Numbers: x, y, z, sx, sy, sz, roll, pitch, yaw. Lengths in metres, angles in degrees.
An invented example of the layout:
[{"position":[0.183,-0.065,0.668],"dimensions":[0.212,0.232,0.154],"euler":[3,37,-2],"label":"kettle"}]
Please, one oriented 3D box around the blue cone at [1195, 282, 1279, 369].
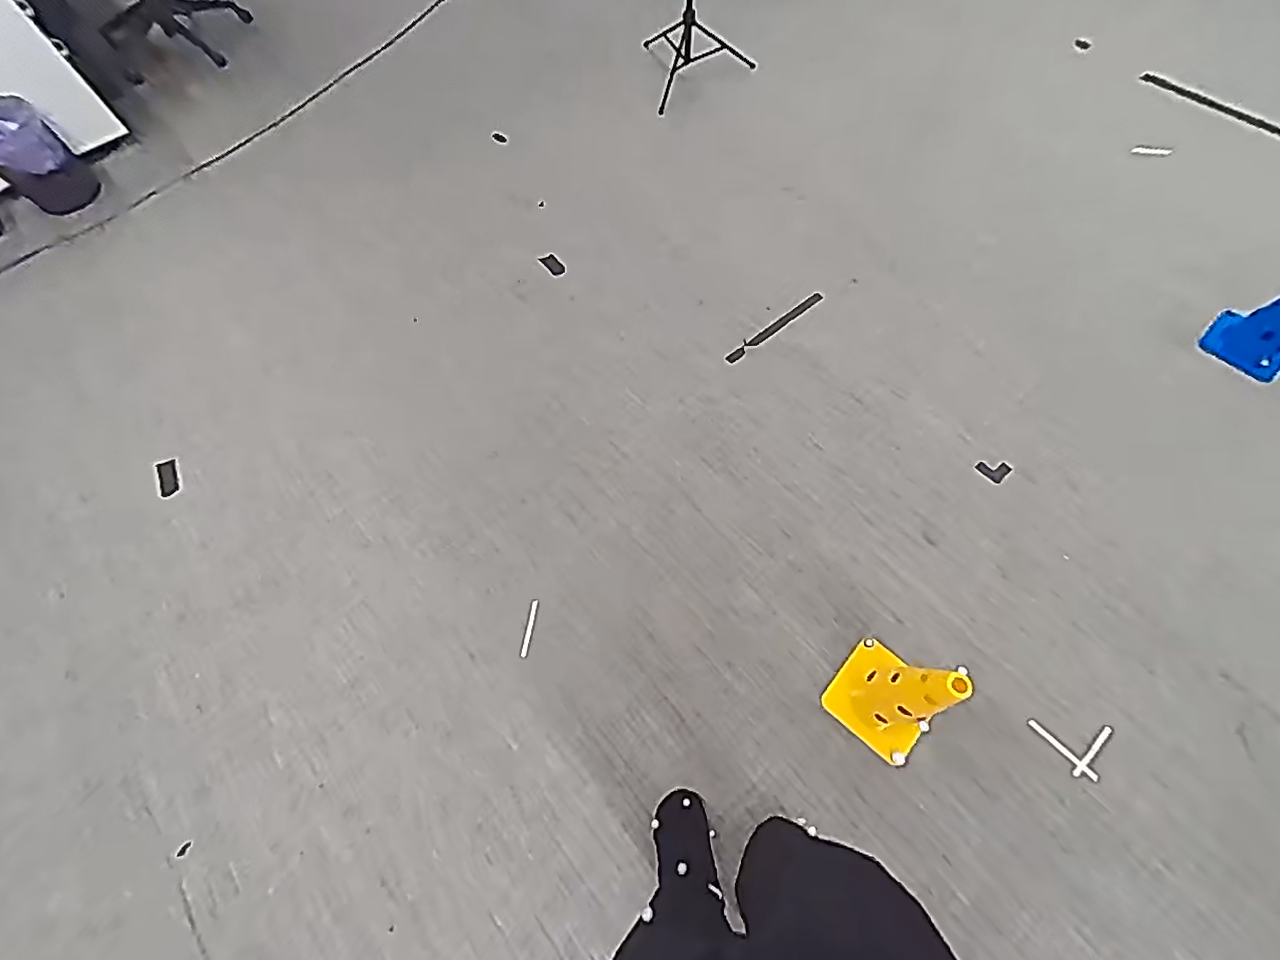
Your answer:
[{"position":[1.727,-0.488,1.416],"dimensions":[0.193,0.380,0.192],"euler":[-38,67,-15],"label":"blue cone"}]
